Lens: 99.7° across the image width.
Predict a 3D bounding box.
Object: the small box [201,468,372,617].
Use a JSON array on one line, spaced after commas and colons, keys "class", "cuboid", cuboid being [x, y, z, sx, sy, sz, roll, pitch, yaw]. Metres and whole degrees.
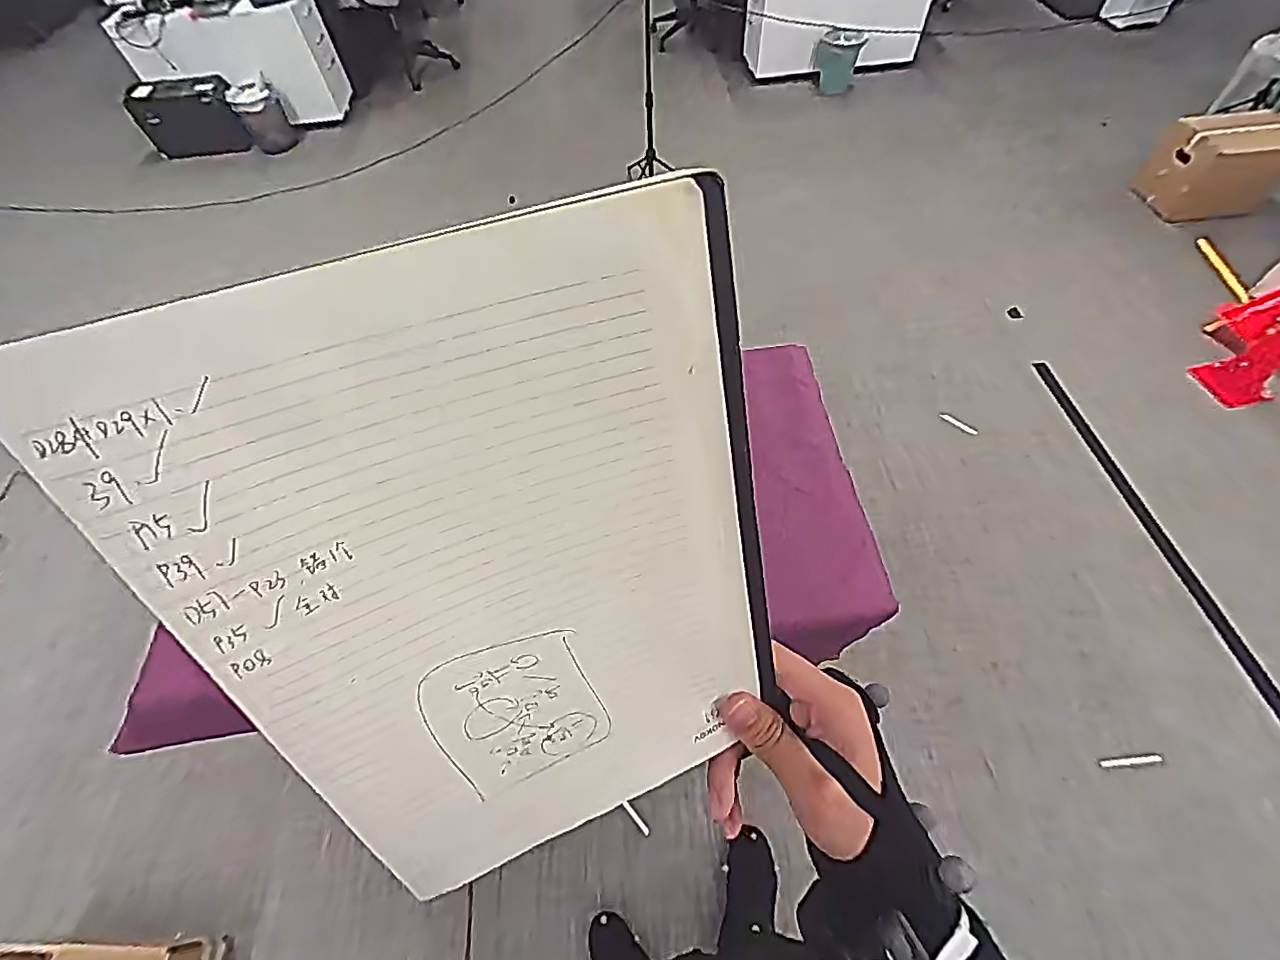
[{"class": "small box", "cuboid": [-0.558, 0.110, 0.883, 0.168, 0.176, 0.179, -12, 57, -5]}]
